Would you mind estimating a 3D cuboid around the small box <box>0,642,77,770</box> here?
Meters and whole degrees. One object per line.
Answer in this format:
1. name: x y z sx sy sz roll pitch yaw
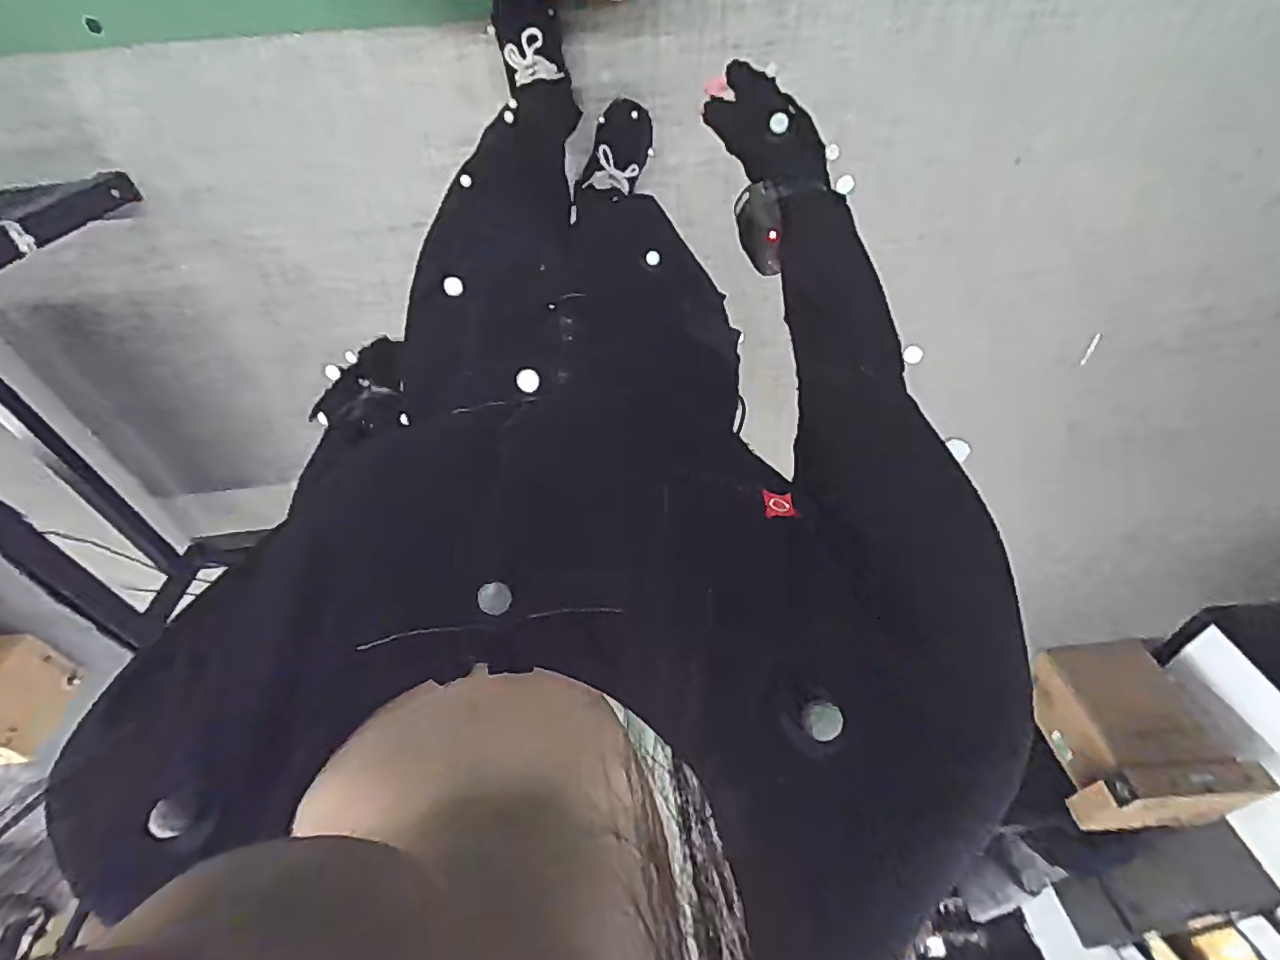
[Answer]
1. small box: -1.184 0.405 0.967 0.179 0.176 0.168 -4 133 -1
